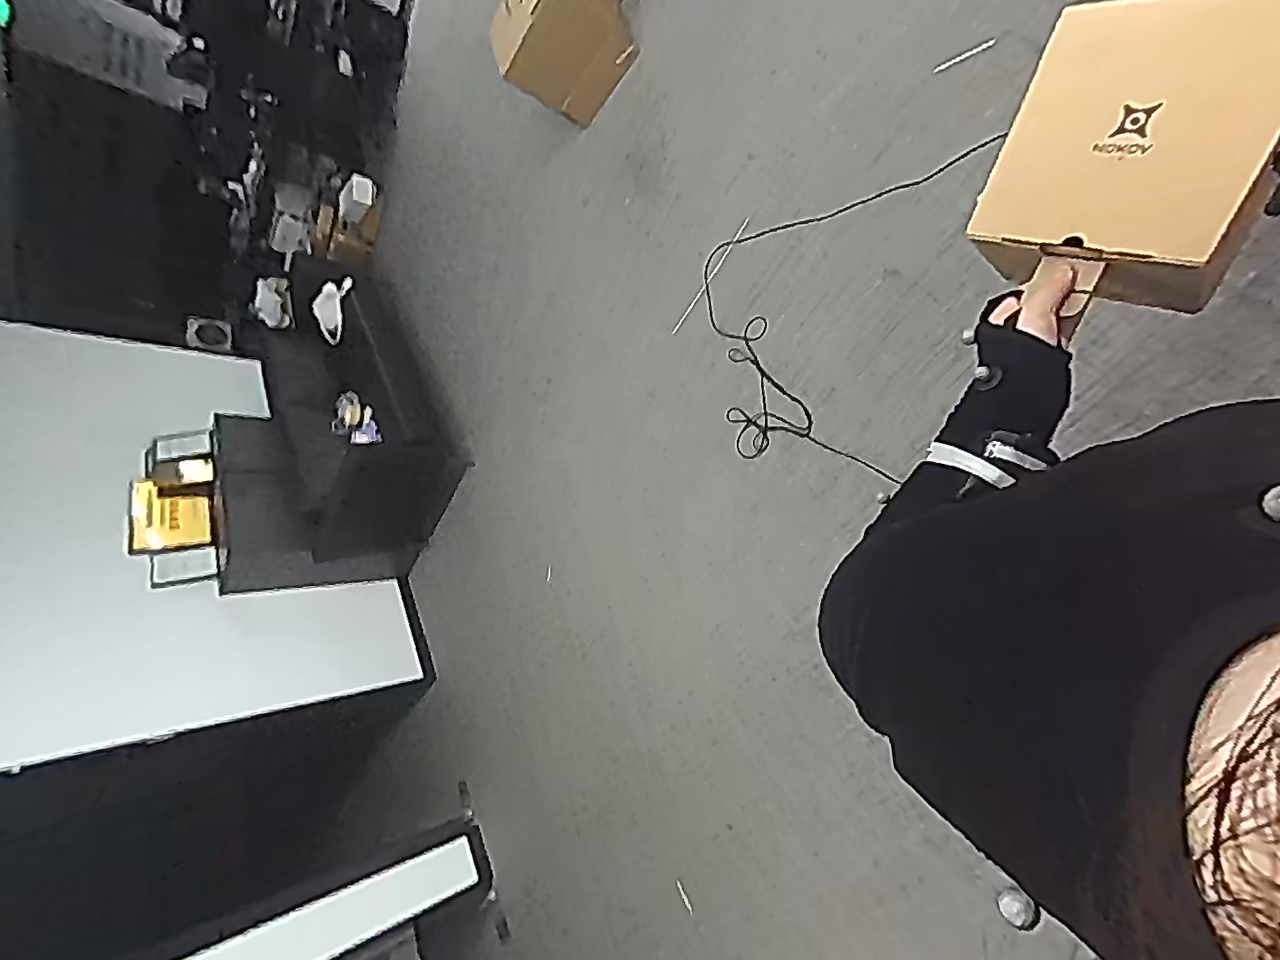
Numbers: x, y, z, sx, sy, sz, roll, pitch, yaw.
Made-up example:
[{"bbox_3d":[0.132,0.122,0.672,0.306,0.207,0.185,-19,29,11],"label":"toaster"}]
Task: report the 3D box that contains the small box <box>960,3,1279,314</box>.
[{"bbox_3d":[0.423,-0.263,0.476,0.168,0.176,0.179,32,113,40],"label":"small box"}]
